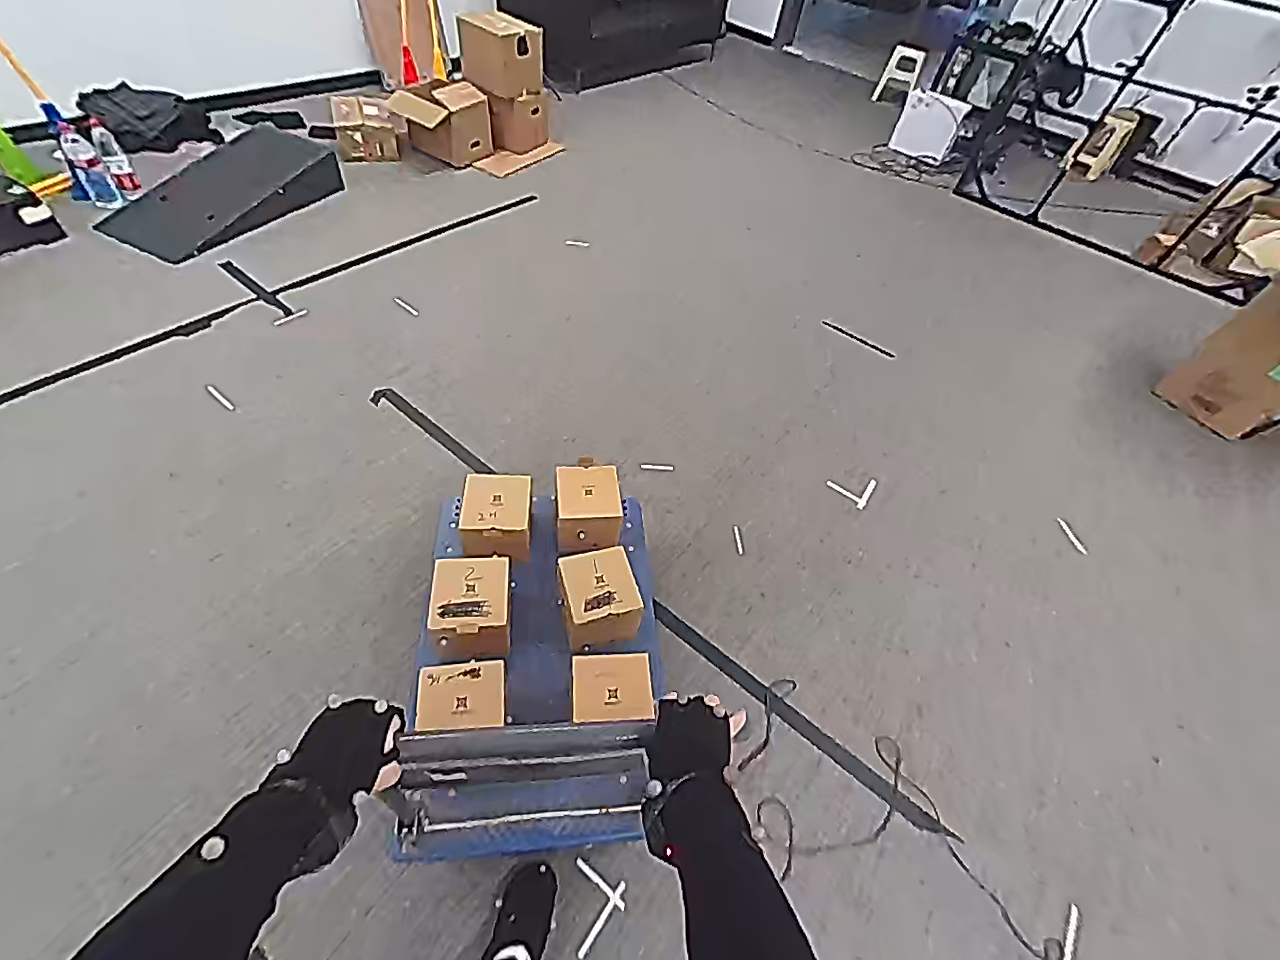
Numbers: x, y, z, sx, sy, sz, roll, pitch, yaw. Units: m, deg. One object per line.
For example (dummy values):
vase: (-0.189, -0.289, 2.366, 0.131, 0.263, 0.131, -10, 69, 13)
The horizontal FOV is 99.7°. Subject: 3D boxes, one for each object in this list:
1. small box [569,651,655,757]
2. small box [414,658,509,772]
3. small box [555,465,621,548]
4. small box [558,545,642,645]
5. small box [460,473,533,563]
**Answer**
small box: (-0.066, 0.489, 1.173, 0.168, 0.176, 0.179, 2, 50, -10)
small box: (-0.358, 0.489, 1.116, 0.168, 0.176, 0.179, -1, 51, -13)
small box: (-0.149, 0.077, 1.497, 0.168, 0.176, 0.179, -2, 51, -12)
small box: (-0.105, 0.289, 1.330, 0.168, 0.176, 0.179, -9, 52, -18)
small box: (-0.373, 0.102, 1.431, 0.168, 0.176, 0.179, 2, 51, -9)
